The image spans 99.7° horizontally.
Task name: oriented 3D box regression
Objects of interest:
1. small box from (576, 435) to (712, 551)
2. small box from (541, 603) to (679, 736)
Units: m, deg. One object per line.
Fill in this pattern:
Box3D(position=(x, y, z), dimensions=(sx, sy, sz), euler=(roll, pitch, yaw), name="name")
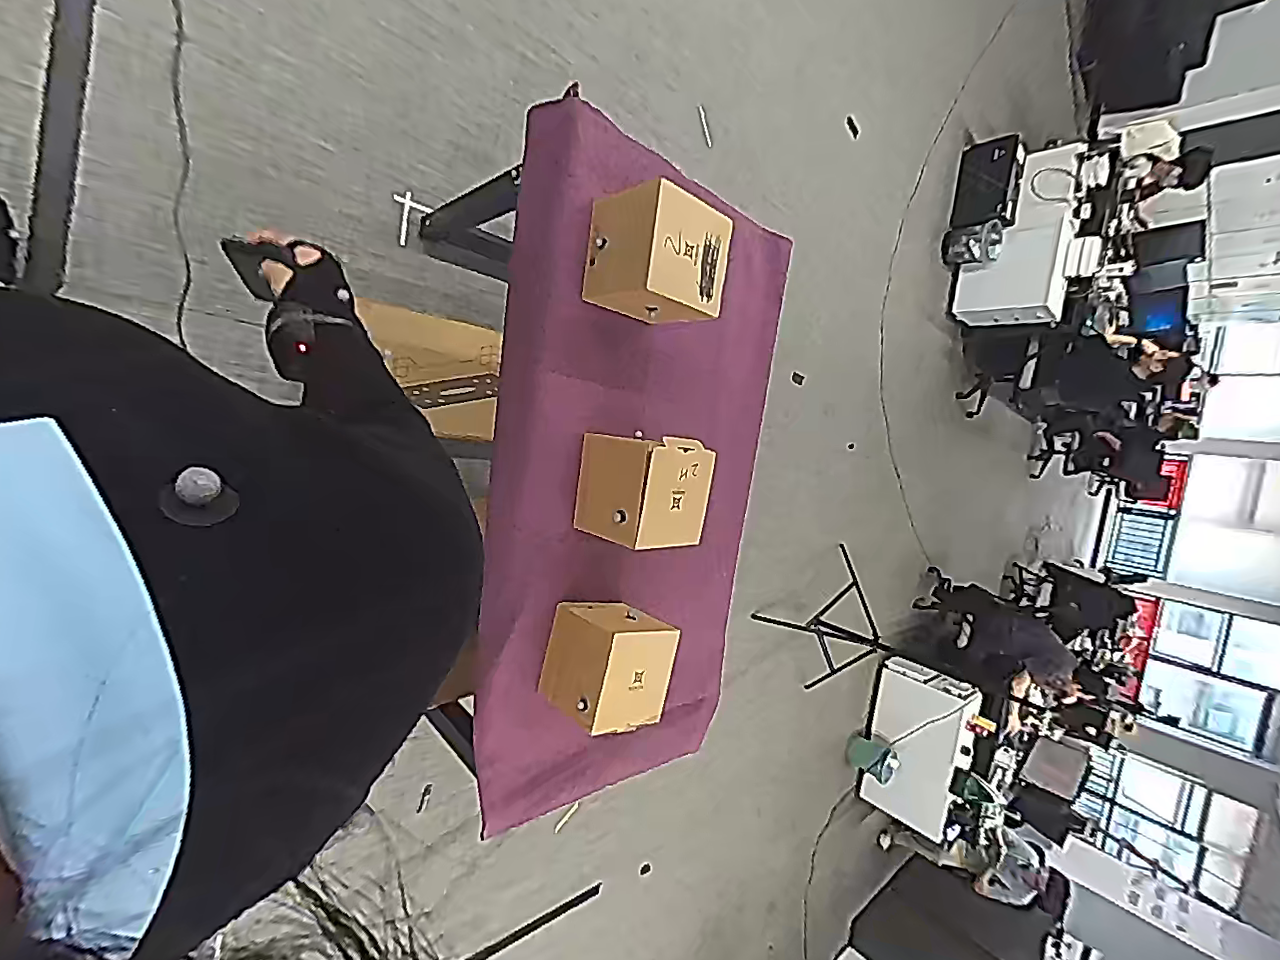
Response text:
Box3D(position=(0.004, 0.020, 0.975), dimensions=(0.168, 0.176, 0.179), euler=(3, 97, -46), name="small box")
Box3D(position=(-0.058, 0.332, 0.987), dimensions=(0.168, 0.176, 0.179), euler=(13, 90, -44), name="small box")
